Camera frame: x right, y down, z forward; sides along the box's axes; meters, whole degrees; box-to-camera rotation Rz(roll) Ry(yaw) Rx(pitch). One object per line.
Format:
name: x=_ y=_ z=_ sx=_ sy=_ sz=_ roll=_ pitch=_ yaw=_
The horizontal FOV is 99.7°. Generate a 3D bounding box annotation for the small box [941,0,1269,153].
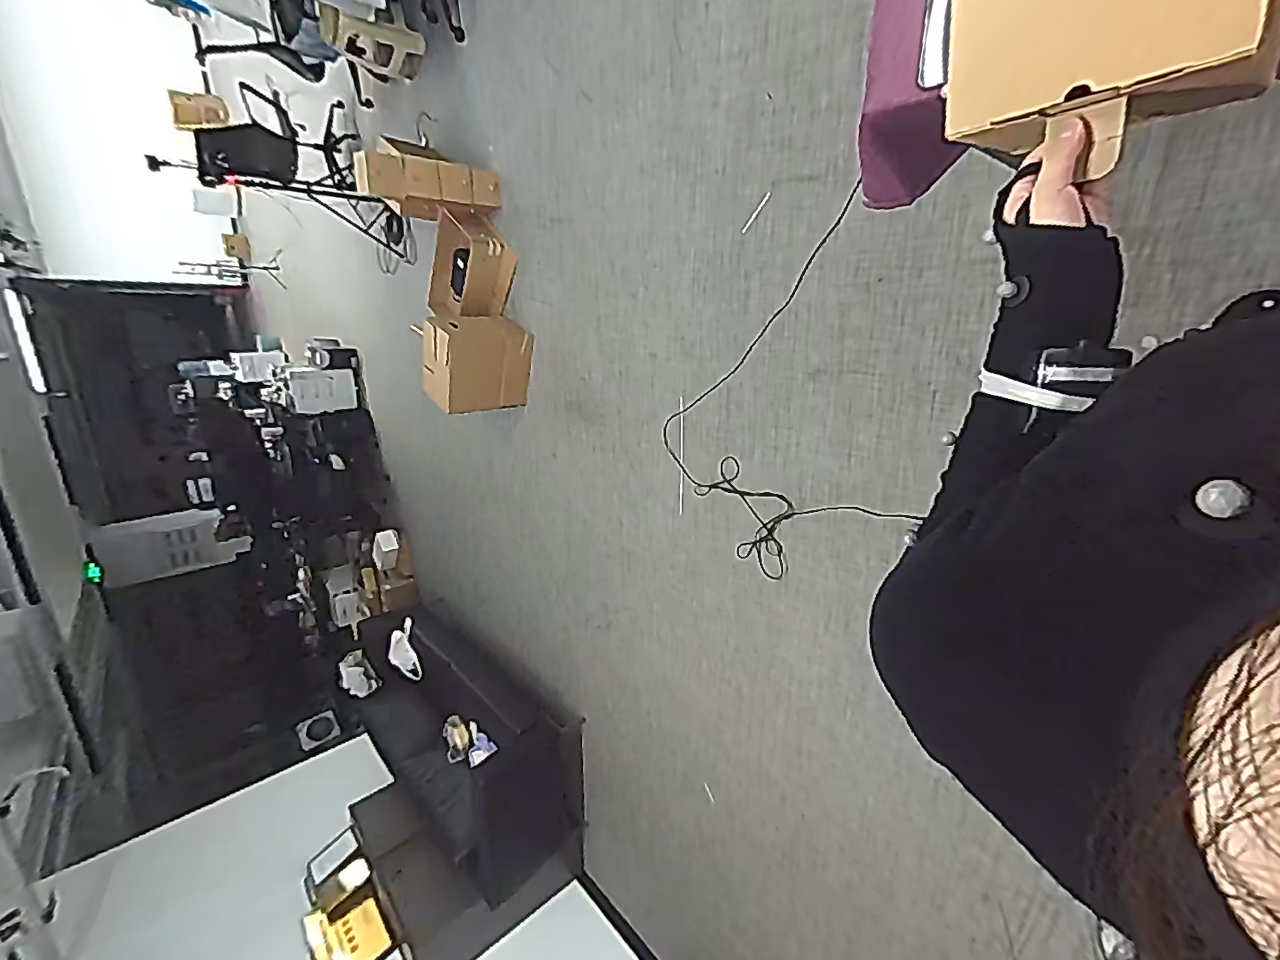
small box: x=0.345 y=-0.363 z=0.397 sx=0.168 sy=0.176 sz=0.179 roll=13 pitch=119 yaw=46
